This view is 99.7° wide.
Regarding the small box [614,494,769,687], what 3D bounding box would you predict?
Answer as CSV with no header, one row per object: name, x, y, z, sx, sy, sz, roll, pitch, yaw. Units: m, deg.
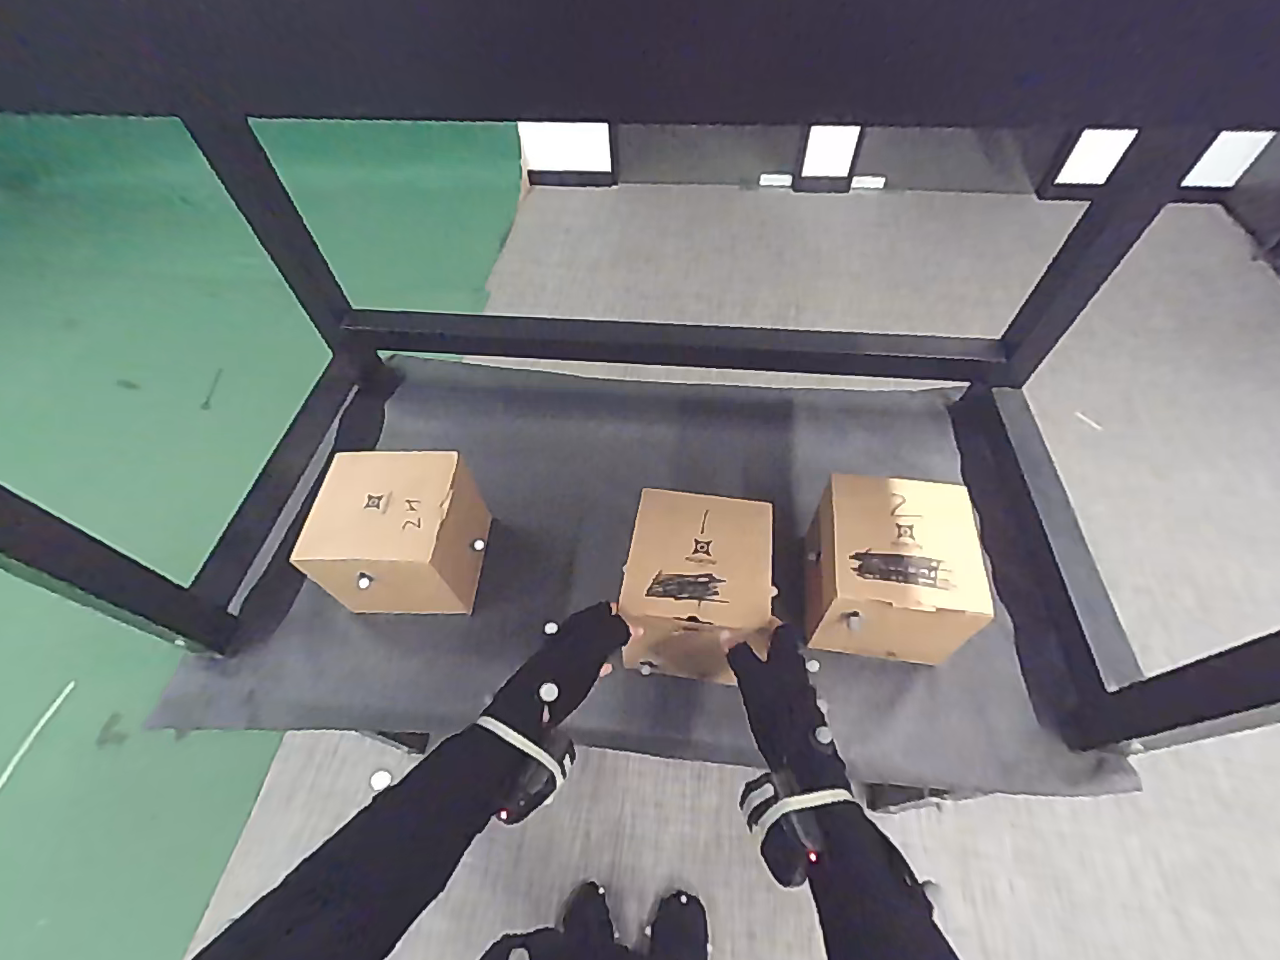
small box,0.069,0.144,0.690,0.168,0.176,0.179,7,50,7

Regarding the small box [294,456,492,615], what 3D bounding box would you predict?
small box,-0.327,0.082,0.758,0.179,0.176,0.168,1,55,2
